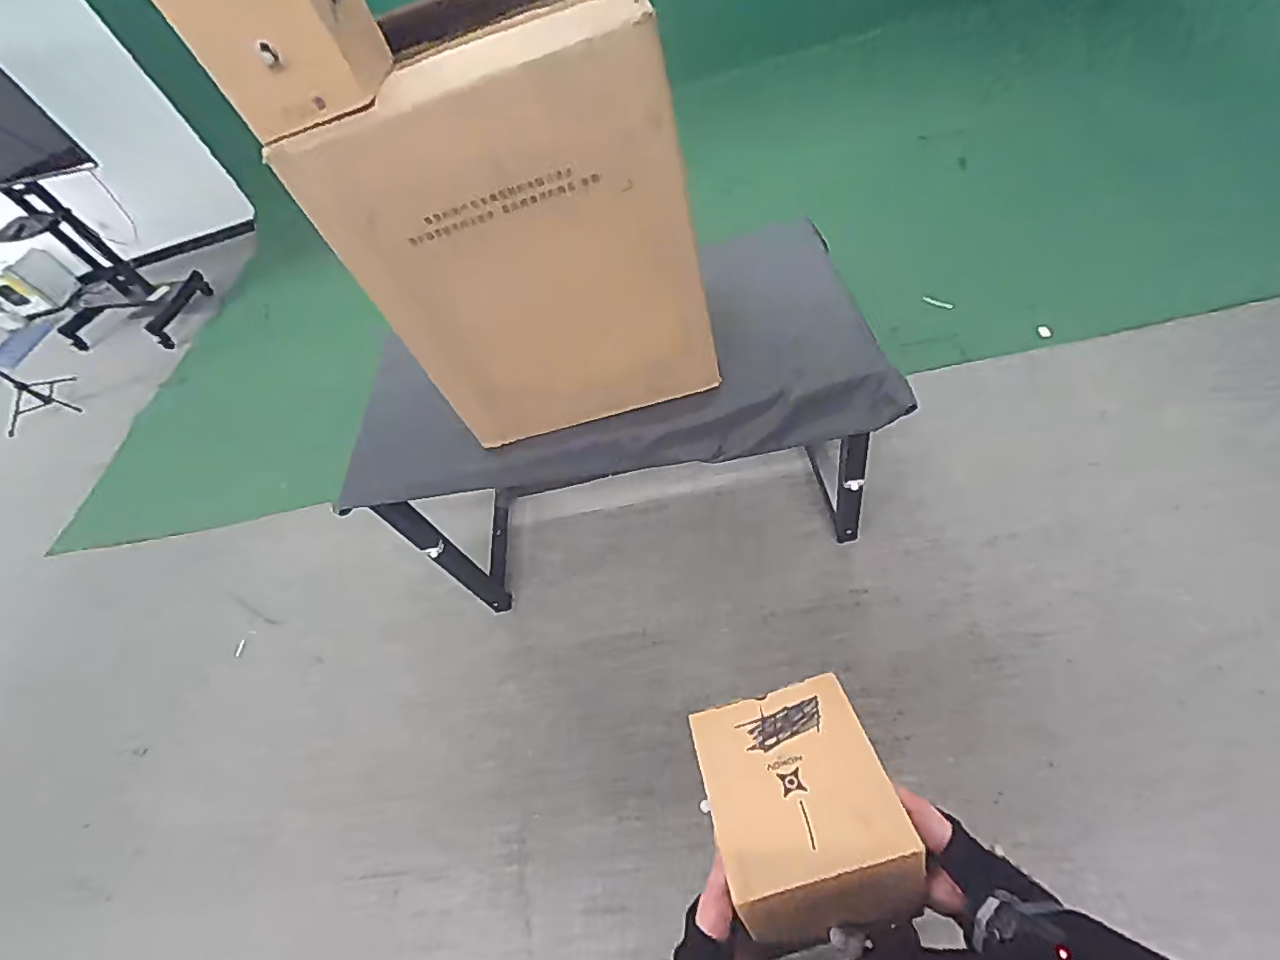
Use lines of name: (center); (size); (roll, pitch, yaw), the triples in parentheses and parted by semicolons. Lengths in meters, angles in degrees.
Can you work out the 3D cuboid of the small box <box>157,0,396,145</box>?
small box: (-0.445, -0.566, 0.698); (0.168, 0.176, 0.179); (-13, 52, 8)
